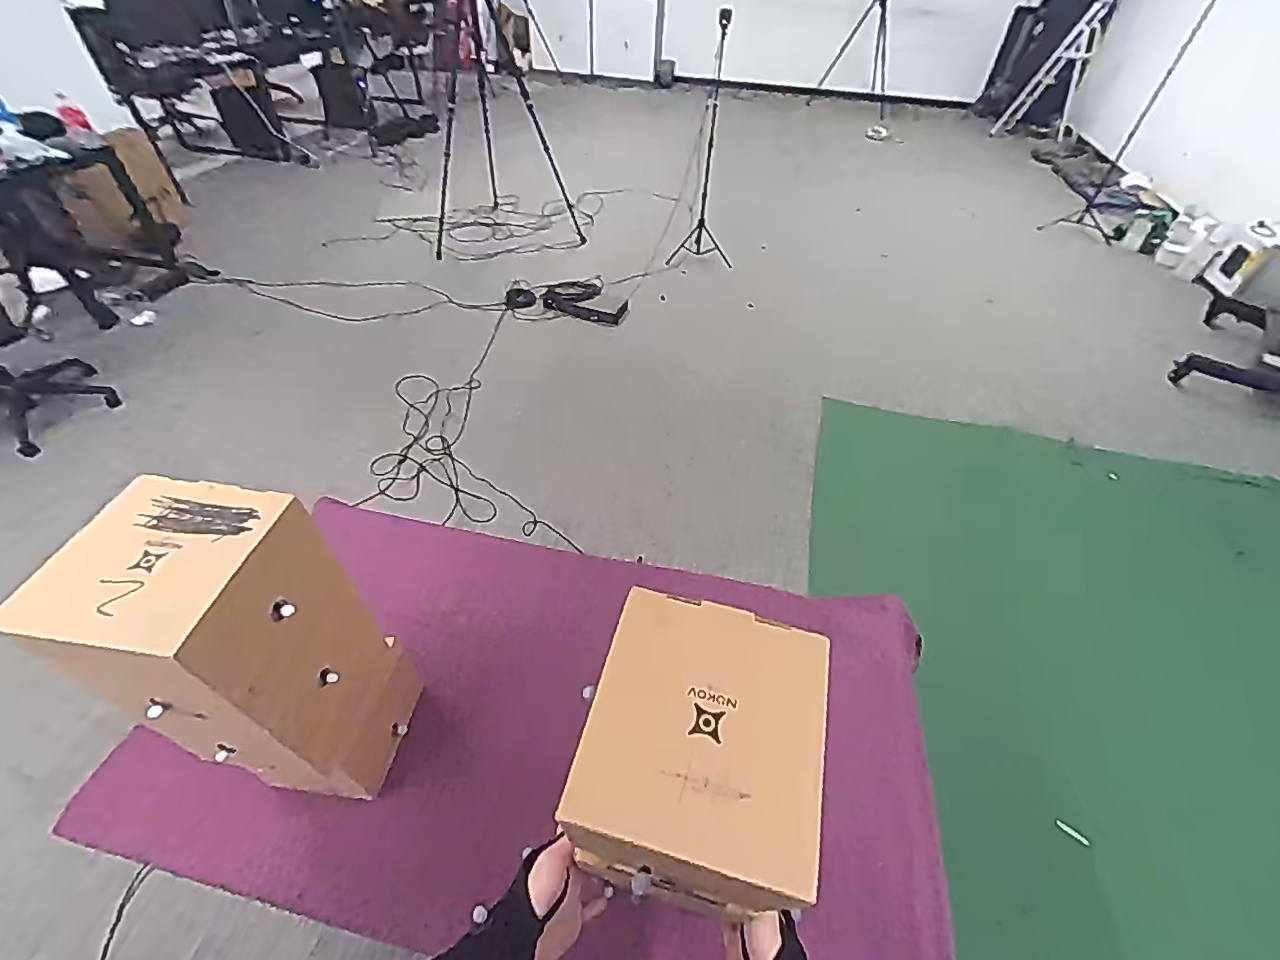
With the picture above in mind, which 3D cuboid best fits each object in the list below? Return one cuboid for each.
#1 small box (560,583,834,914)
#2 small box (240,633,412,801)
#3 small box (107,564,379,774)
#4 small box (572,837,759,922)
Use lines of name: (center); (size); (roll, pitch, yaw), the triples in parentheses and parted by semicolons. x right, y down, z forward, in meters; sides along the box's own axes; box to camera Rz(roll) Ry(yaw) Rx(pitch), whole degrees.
small box: (0.045, 0.217, 0.438); (0.168, 0.176, 0.179); (14, 51, 9)
small box: (-0.451, 0.331, 0.778); (0.168, 0.176, 0.179); (7, 45, 3)
small box: (-0.444, 0.229, 0.647); (0.168, 0.176, 0.179); (8, 46, 3)
small box: (0.039, 0.326, 0.559); (0.168, 0.176, 0.179); (13, 49, 7)
